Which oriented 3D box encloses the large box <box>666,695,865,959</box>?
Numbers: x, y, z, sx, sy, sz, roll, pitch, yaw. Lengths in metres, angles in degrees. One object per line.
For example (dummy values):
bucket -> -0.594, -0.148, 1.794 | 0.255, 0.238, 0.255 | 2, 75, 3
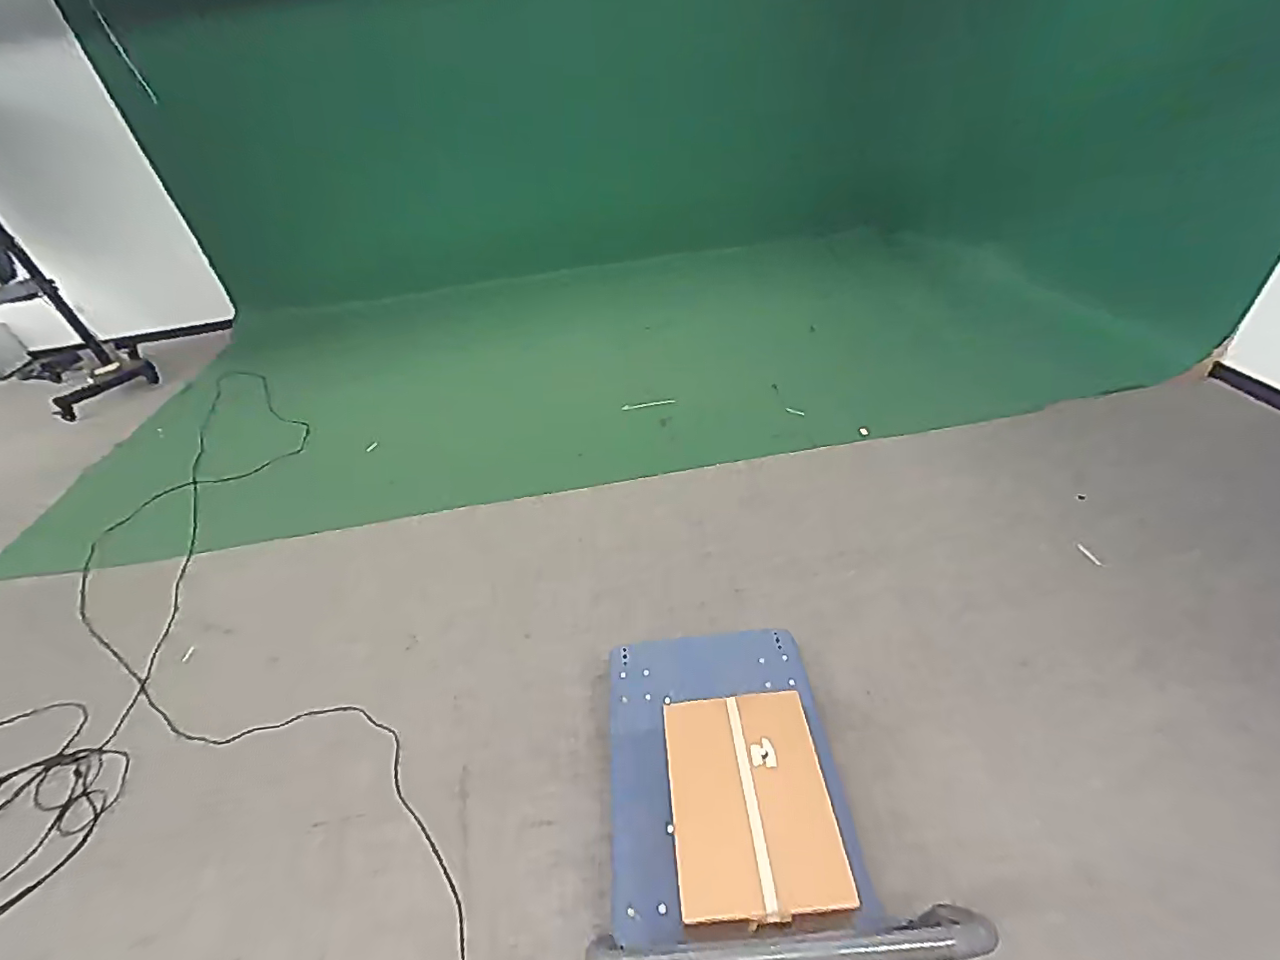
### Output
large box -> 0.240, 0.745, 1.167 | 0.320, 0.320, 0.408 | -6, 38, 1
